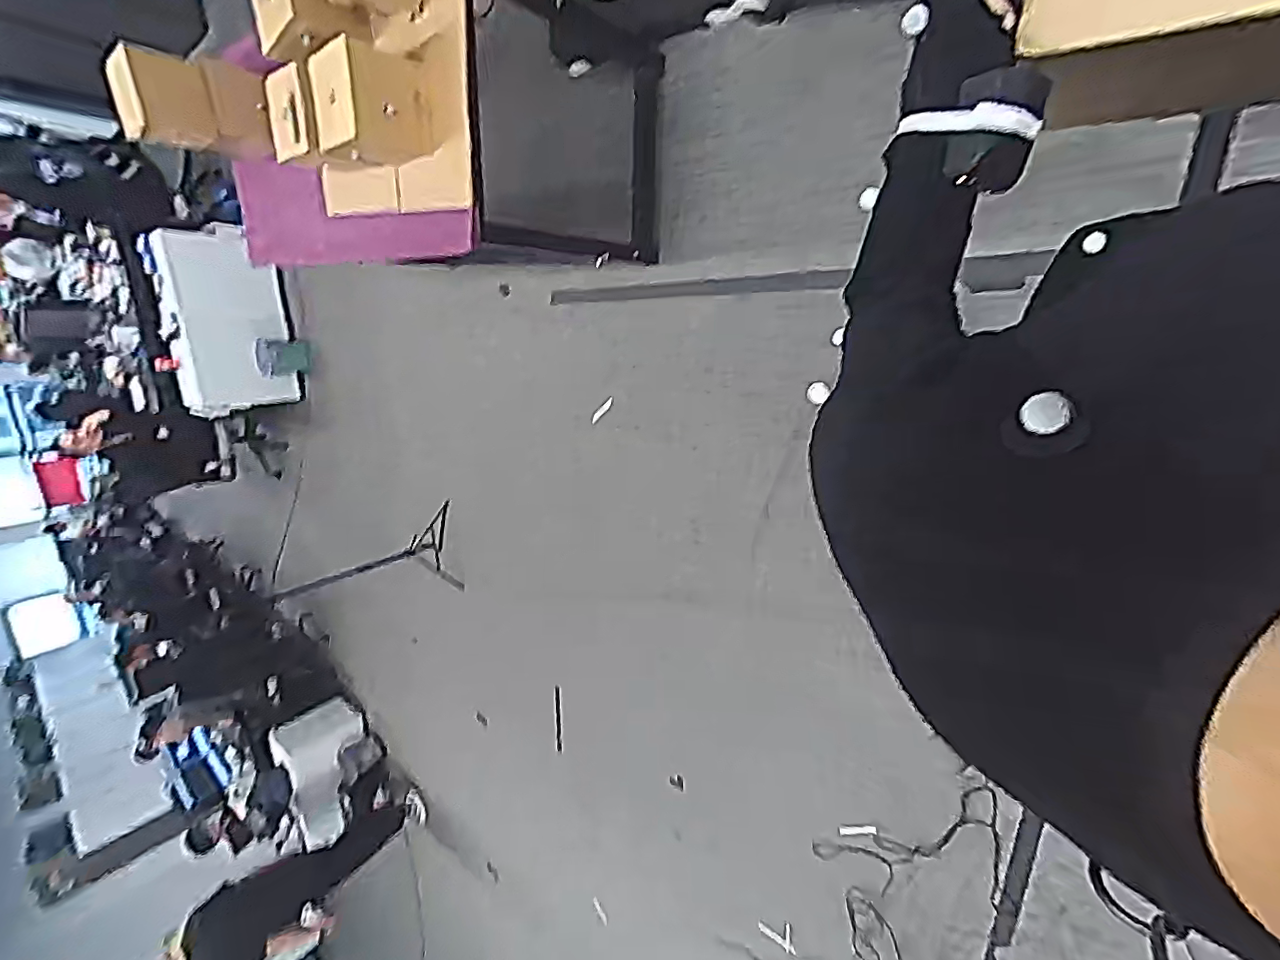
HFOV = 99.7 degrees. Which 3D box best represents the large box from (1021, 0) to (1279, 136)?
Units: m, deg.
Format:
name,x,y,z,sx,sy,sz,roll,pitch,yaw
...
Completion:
name,x,y,z,sx,sy,sz,roll,pitch,yaw
large box,0.506,-0.436,0.324,0.408,0.320,0.320,14,118,33
